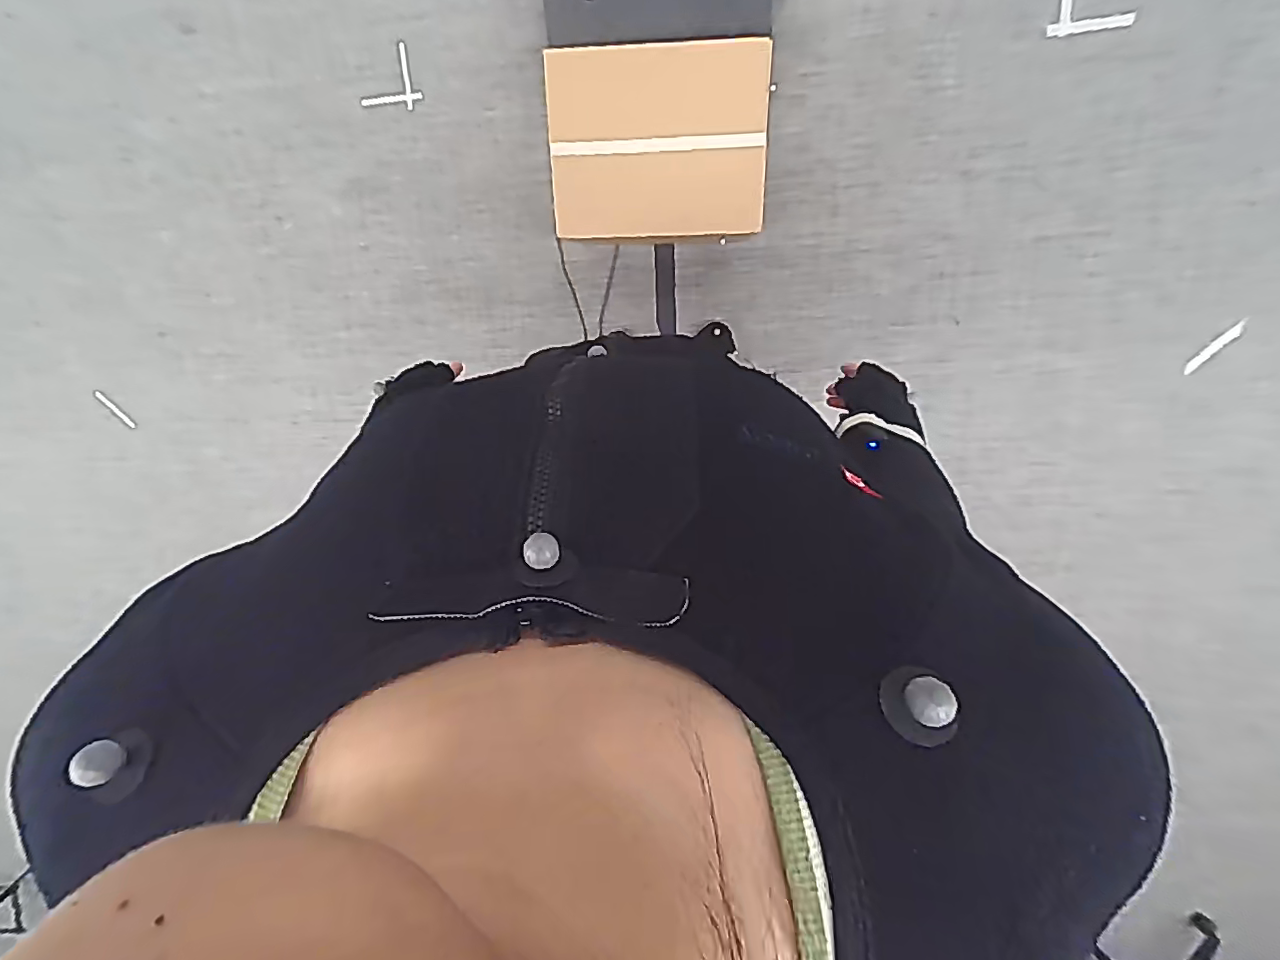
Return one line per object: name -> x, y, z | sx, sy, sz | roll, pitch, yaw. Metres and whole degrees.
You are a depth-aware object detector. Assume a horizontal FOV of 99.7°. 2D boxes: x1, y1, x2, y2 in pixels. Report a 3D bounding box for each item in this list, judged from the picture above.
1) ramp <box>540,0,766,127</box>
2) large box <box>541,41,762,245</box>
ramp -> 0.015, -1.245, 1.057 | 0.509, 0.206, 0.991 | -3, 106, 4
large box -> 0.033, -0.680, 1.152 | 0.408, 0.320, 0.320 | 0, 110, 4
